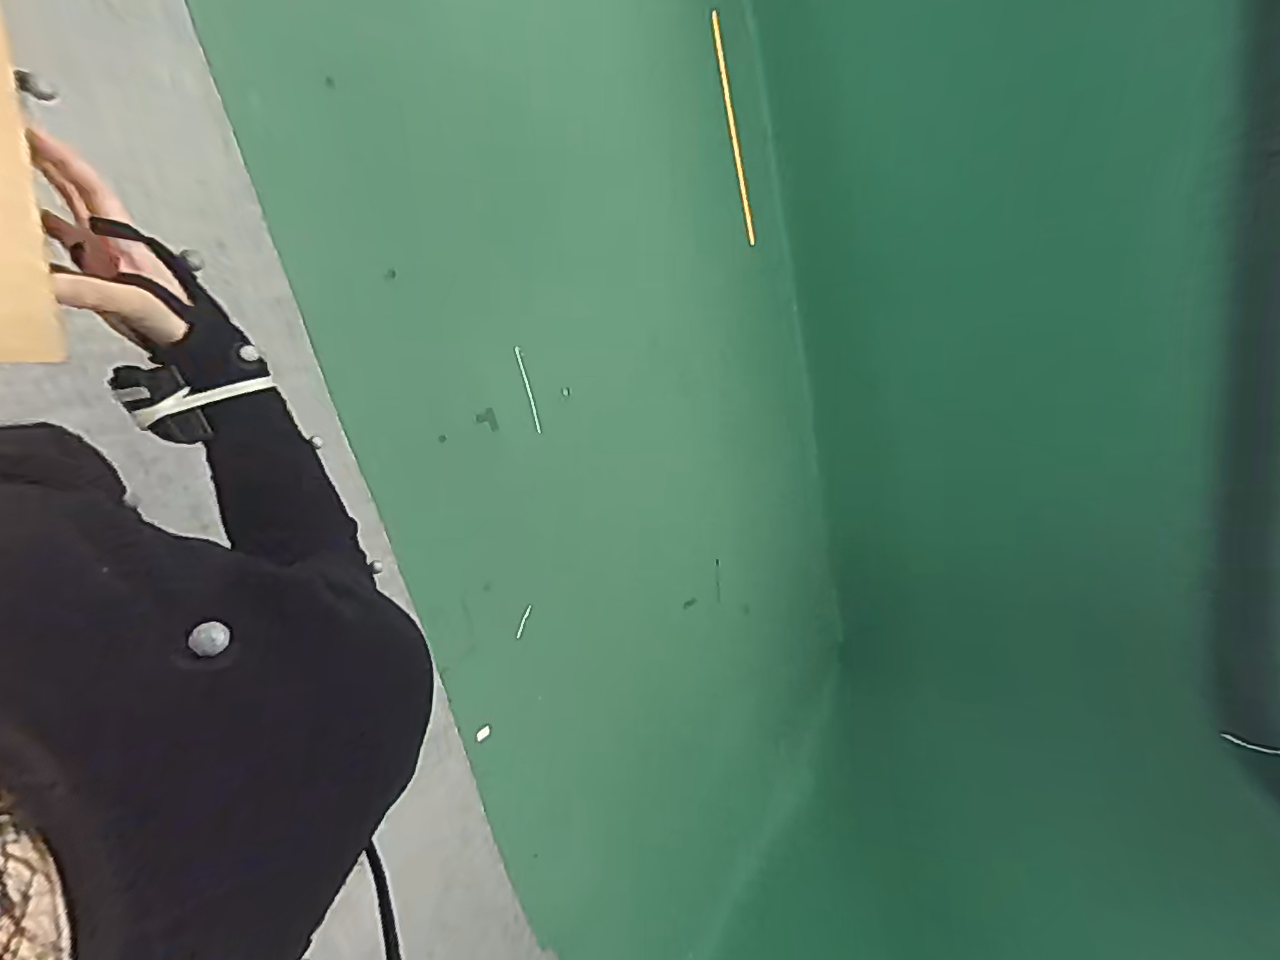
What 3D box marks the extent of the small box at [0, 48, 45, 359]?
[{"bbox_3d":[-0.414,-0.164,0.254,0.168,0.176,0.179,-11,118,-47],"label":"small box"}]
